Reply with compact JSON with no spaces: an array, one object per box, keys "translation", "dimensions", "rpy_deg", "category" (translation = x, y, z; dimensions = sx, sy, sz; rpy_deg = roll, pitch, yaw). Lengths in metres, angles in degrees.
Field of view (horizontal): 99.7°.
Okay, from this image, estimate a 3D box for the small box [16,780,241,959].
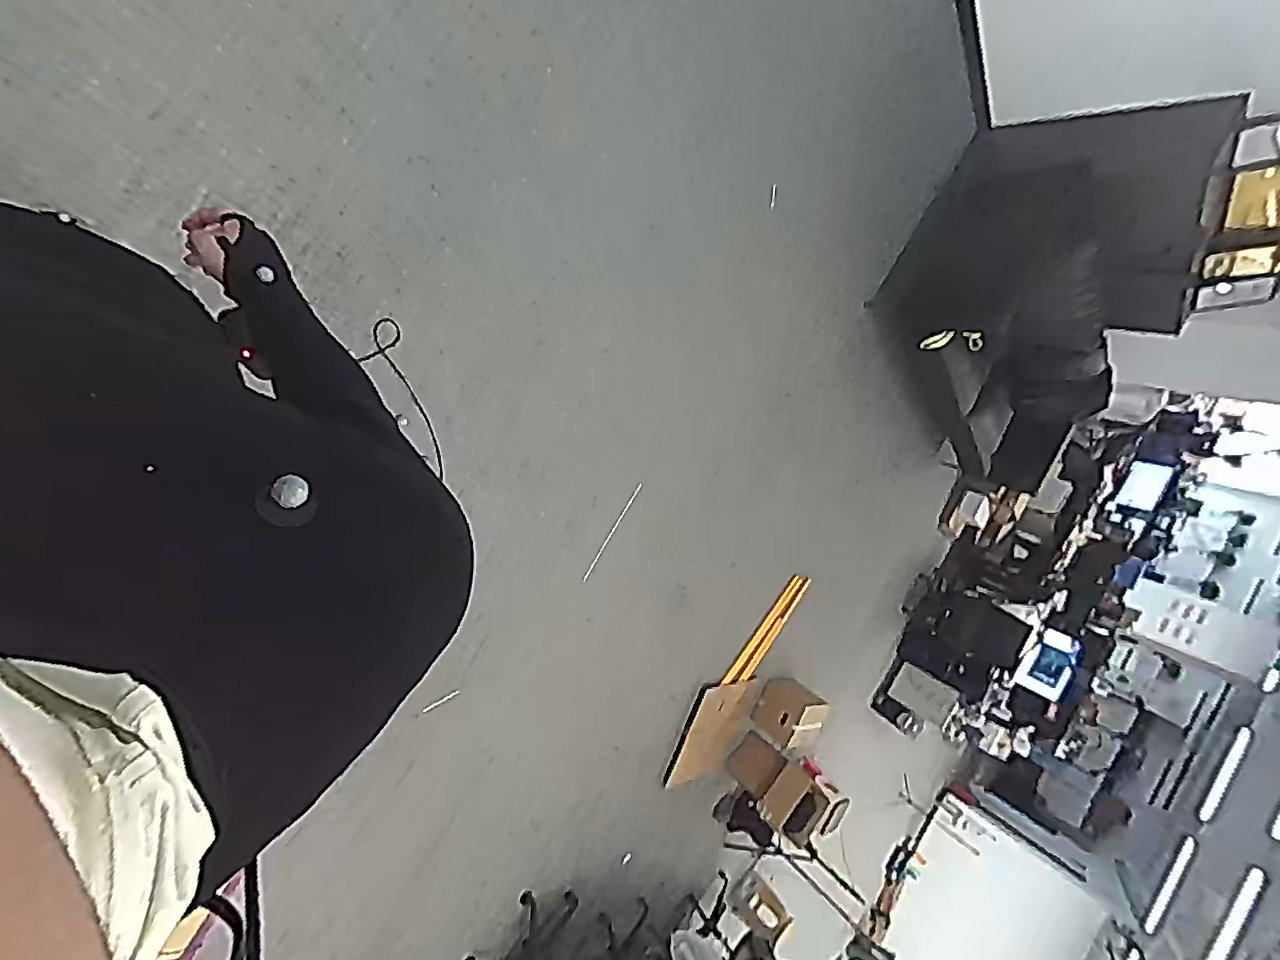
[{"translation":[-0.710,0.555,0.766],"dimensions":[0.179,0.176,0.168],"rpy_deg":[35,86,-44],"category":"small box"}]
